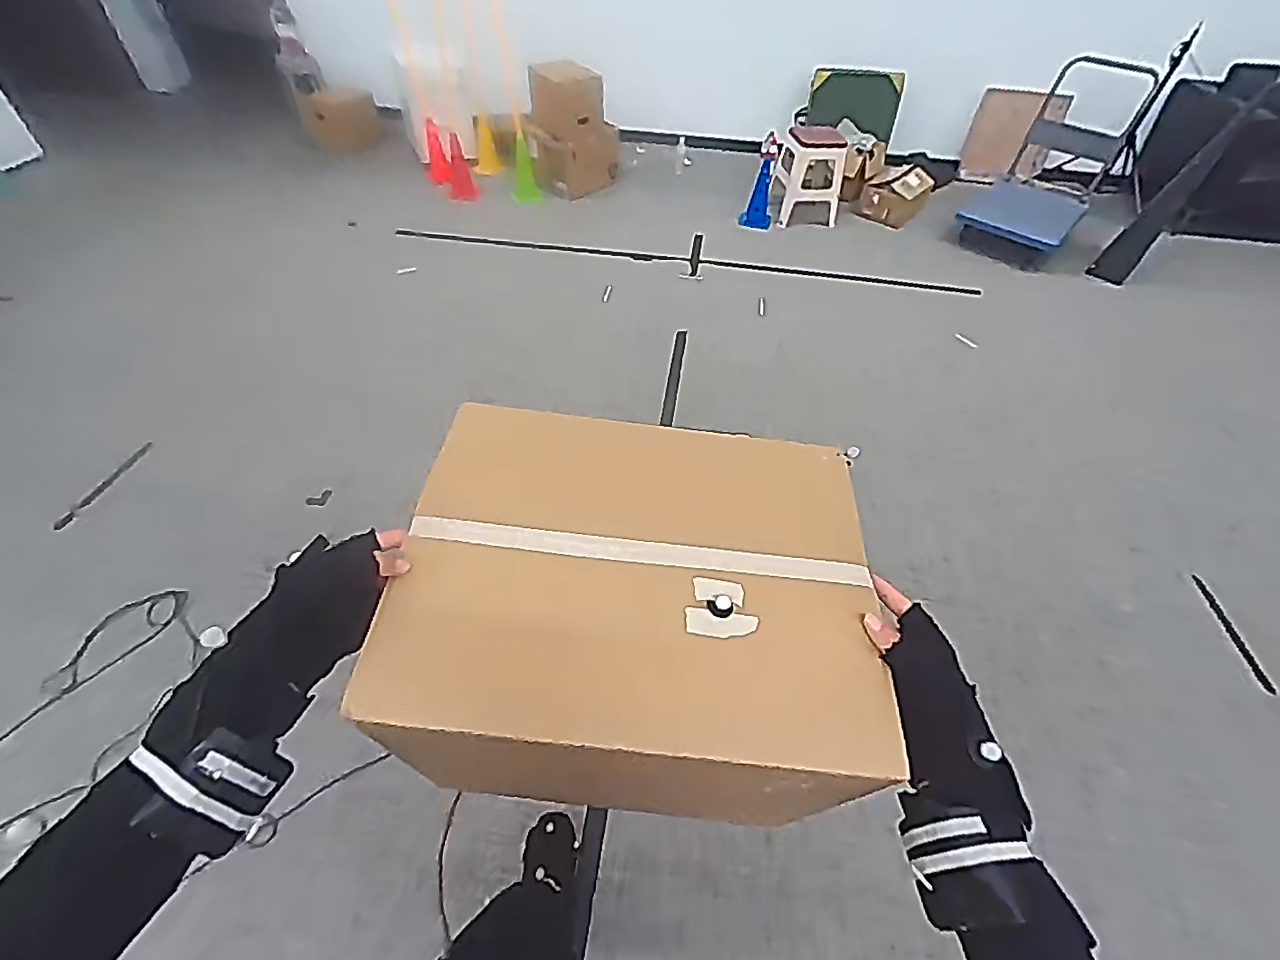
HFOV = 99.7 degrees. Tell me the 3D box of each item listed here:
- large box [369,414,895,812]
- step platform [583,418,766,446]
[{"bbox_3d":[-0.008,0.160,0.606,0.408,0.320,0.320,7,53,-1],"label":"large box"},{"bbox_3d":[0.102,-0.032,1.886,0.684,0.204,0.286,6,49,1],"label":"step platform"}]
